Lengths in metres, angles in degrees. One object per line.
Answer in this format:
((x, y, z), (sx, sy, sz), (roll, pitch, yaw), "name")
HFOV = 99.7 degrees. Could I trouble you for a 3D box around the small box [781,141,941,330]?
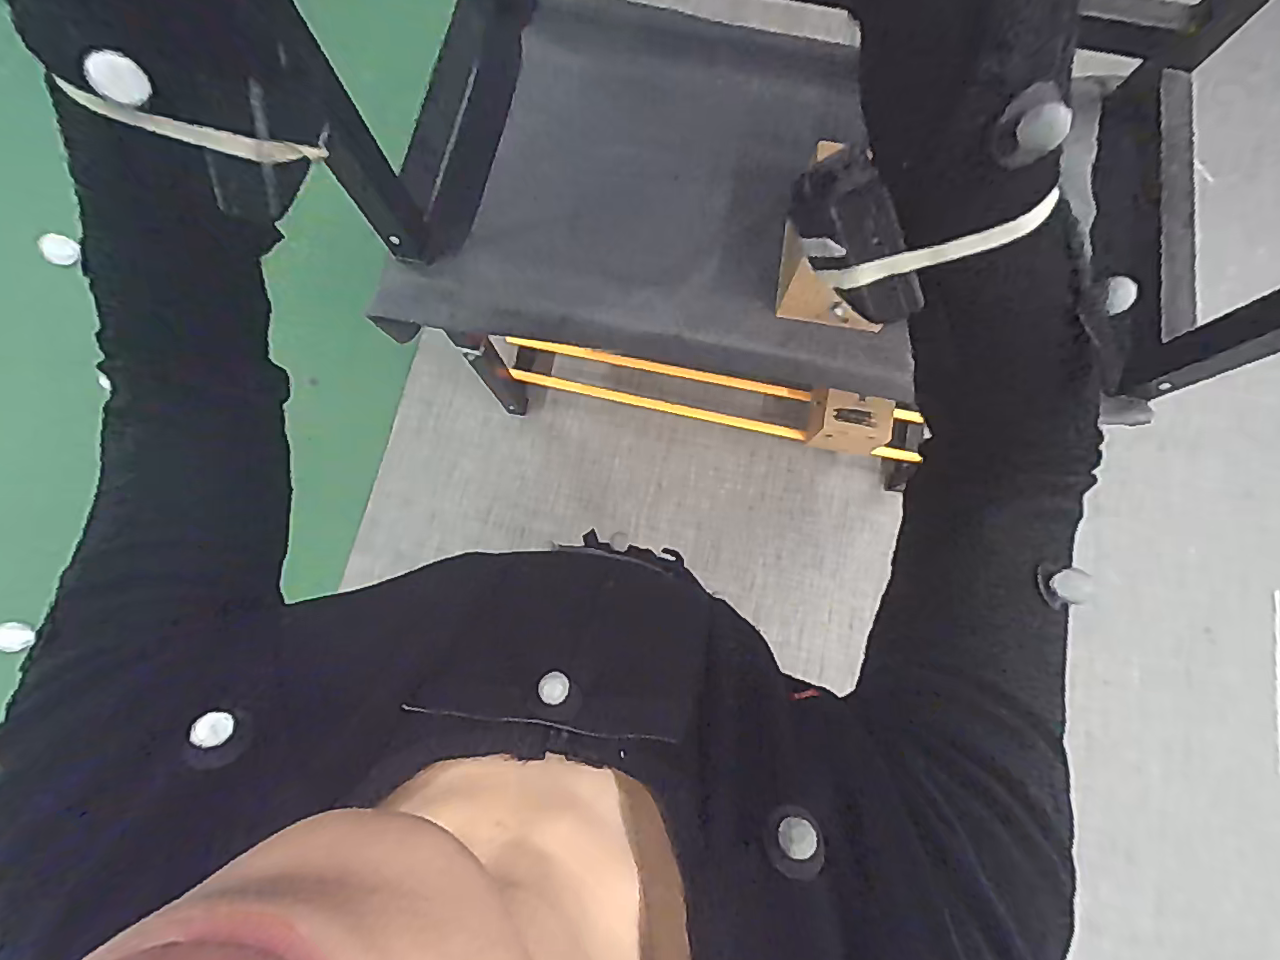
((0.314, -0.350, 0.794), (0.168, 0.176, 0.179), (9, 77, 3), "small box")
